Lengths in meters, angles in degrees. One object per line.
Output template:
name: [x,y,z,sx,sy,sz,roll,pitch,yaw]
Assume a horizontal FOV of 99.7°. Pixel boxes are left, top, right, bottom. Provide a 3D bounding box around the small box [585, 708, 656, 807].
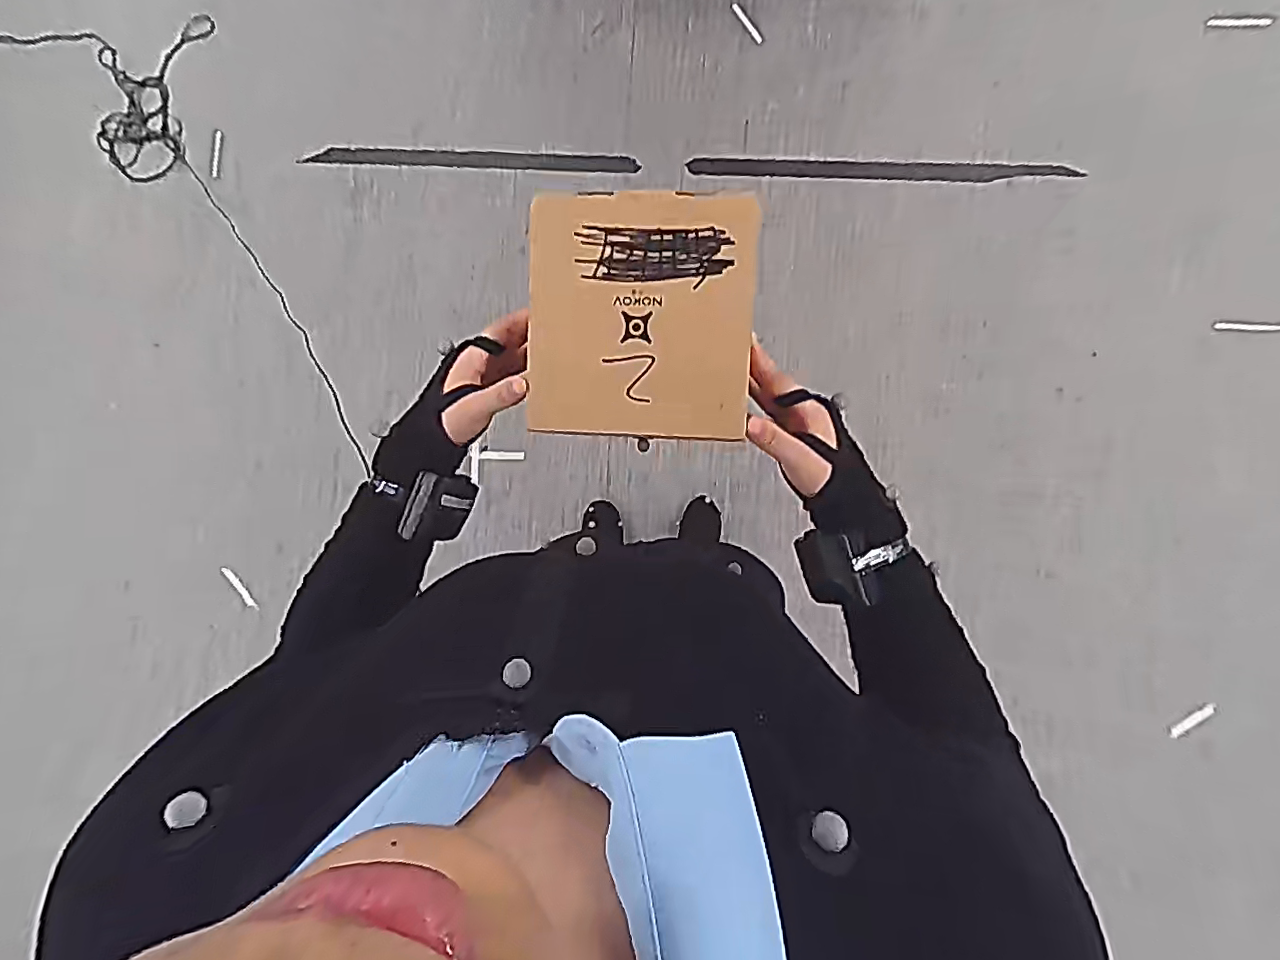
small box: [-0.045,0.711,1.400,0.168,0.176,0.179,-2,87,5]
